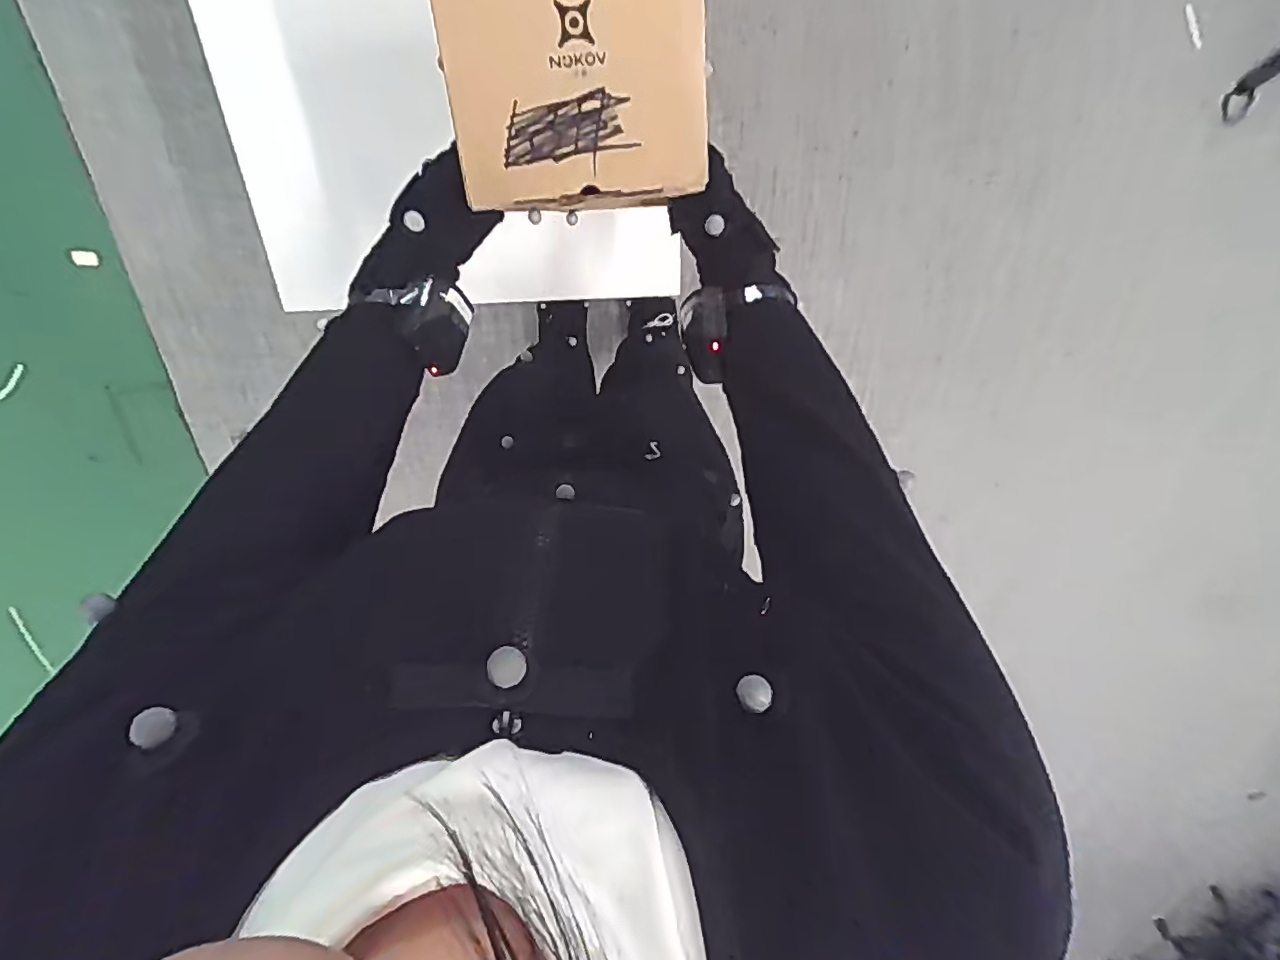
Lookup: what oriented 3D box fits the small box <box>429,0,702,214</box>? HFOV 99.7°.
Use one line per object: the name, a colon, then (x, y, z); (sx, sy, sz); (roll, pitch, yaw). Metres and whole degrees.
small box: (-0.048, -0.305, 0.407); (0.168, 0.176, 0.179); (-6, 116, -1)
